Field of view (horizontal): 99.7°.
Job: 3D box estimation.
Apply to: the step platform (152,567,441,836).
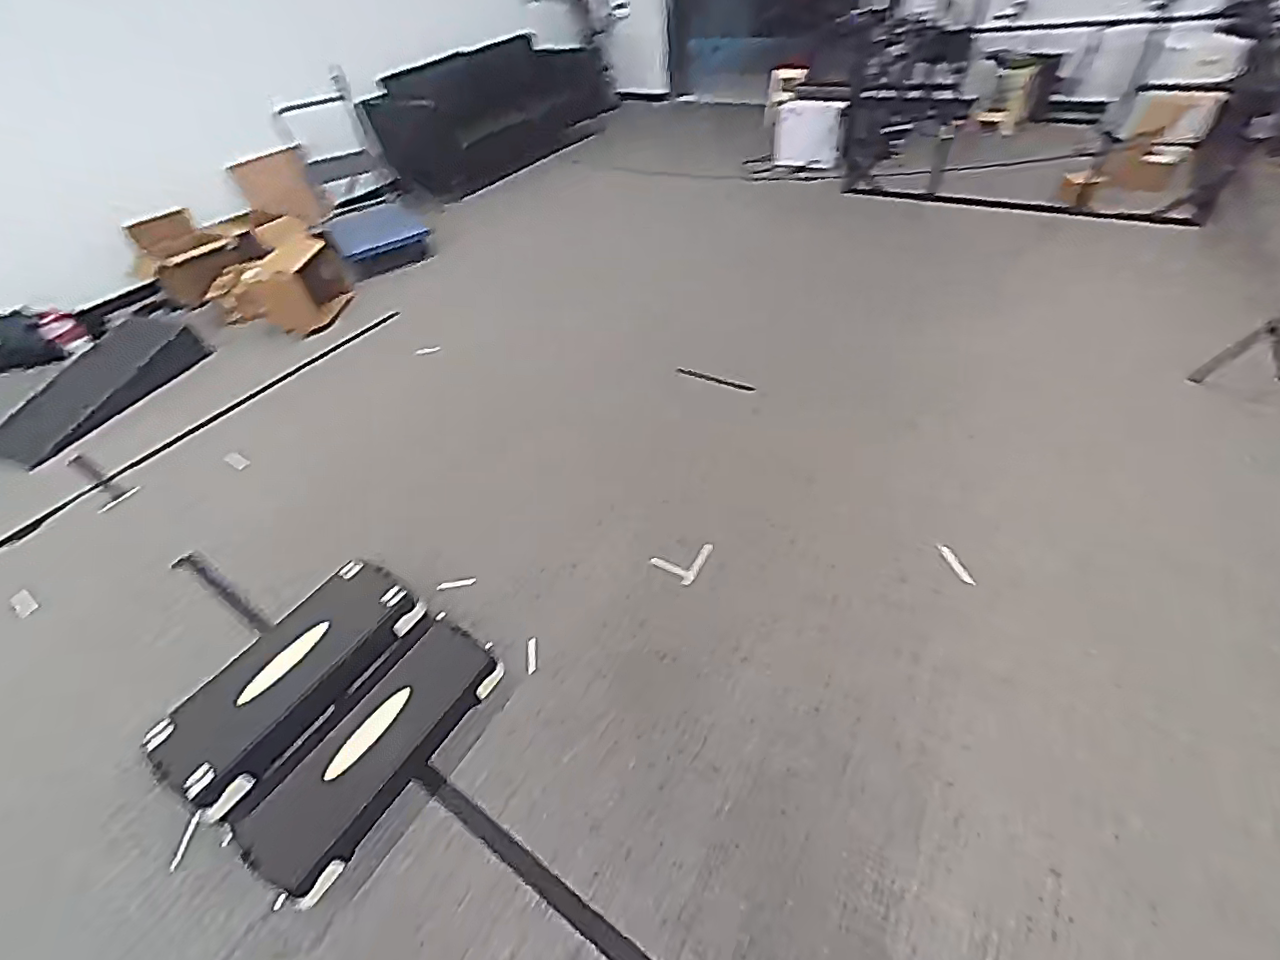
[{"bbox_3d":[-0.901,0.563,1.484,0.286,0.204,0.684,21,51,25],"label":"step platform"}]
